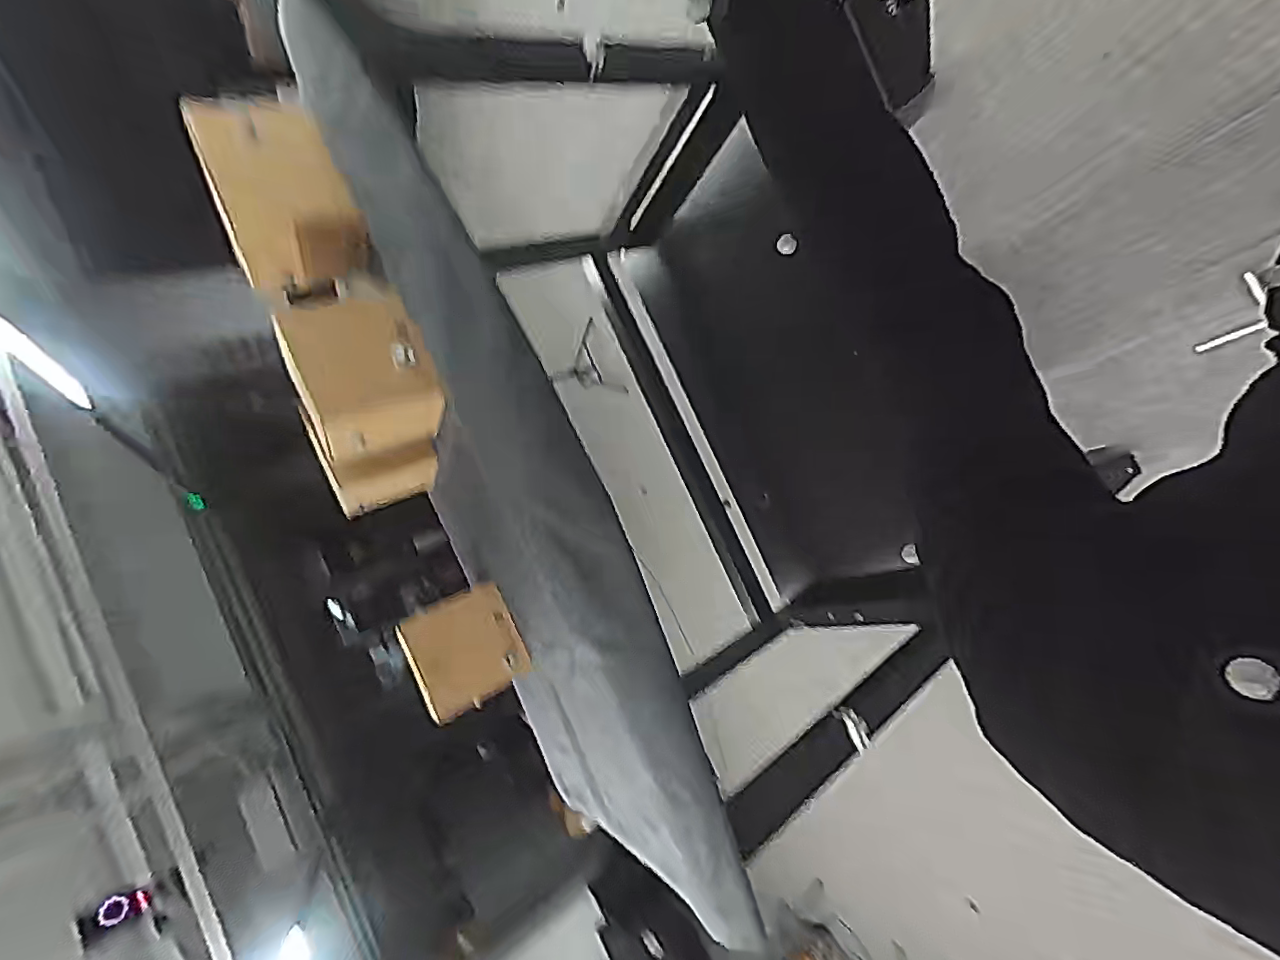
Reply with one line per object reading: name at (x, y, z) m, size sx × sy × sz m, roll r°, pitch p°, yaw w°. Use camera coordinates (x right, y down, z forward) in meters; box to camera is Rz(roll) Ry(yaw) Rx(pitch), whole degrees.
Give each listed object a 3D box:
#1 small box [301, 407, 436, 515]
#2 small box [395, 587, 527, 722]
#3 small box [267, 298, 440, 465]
small box at (-0.499, -0.058, 1.005) m, size 0.179 × 0.176 × 0.168 m, roll 65°, pitch 151°, yaw 5°
small box at (-0.319, 0.306, 0.966) m, size 0.168 × 0.176 × 0.179 m, roll 63°, pitch 151°, yaw 7°
small box at (-0.410, -0.142, 0.798) m, size 0.168 × 0.176 × 0.179 m, roll 64°, pitch 152°, yaw 2°
